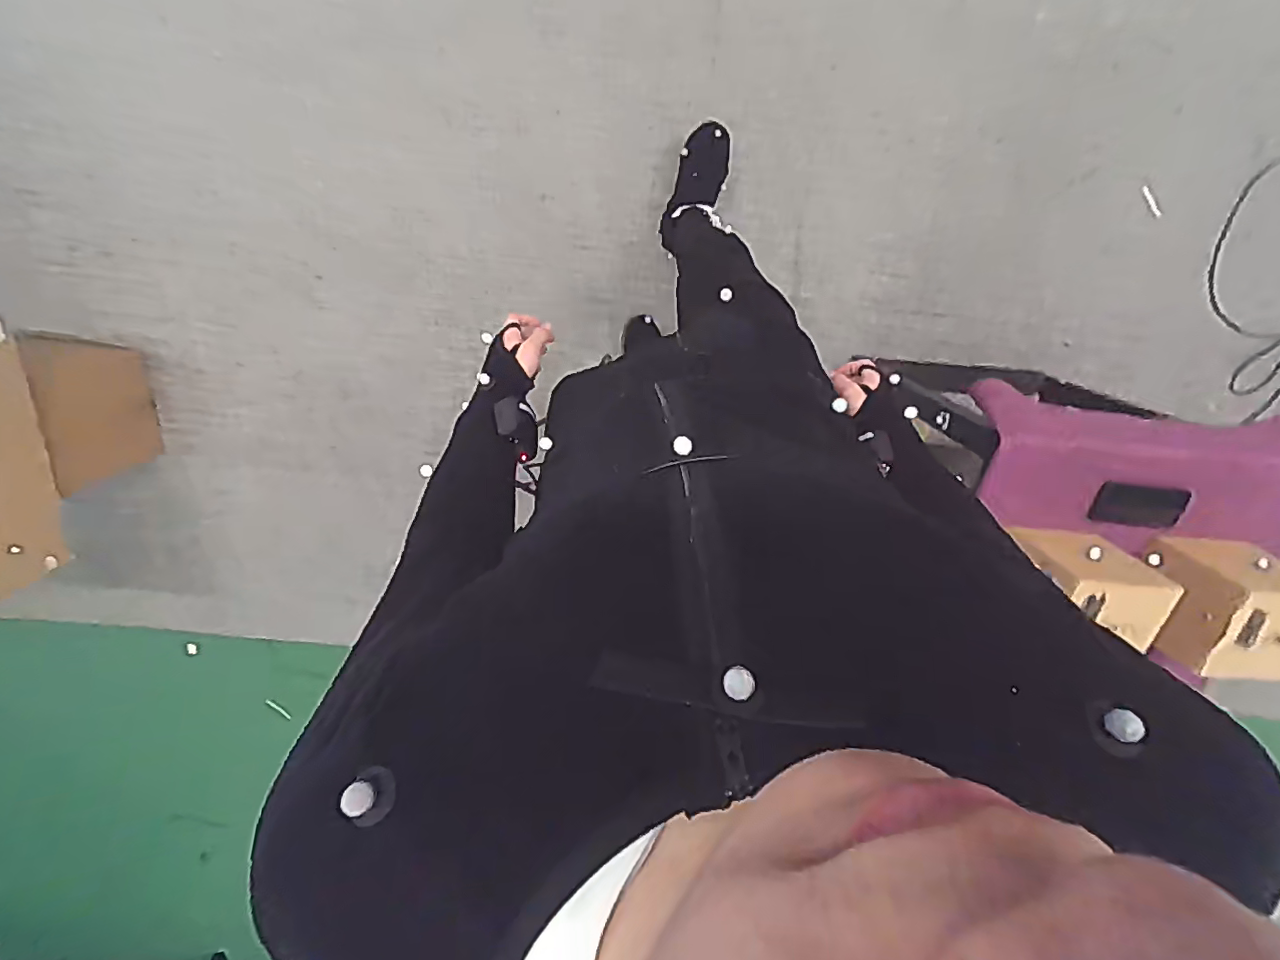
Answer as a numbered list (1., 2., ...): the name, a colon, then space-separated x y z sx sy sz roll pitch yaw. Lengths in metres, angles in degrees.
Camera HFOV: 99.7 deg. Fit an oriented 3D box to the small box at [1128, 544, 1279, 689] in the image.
1. small box: 0.978 0.219 0.891 0.179 0.176 0.168 4 114 -3
